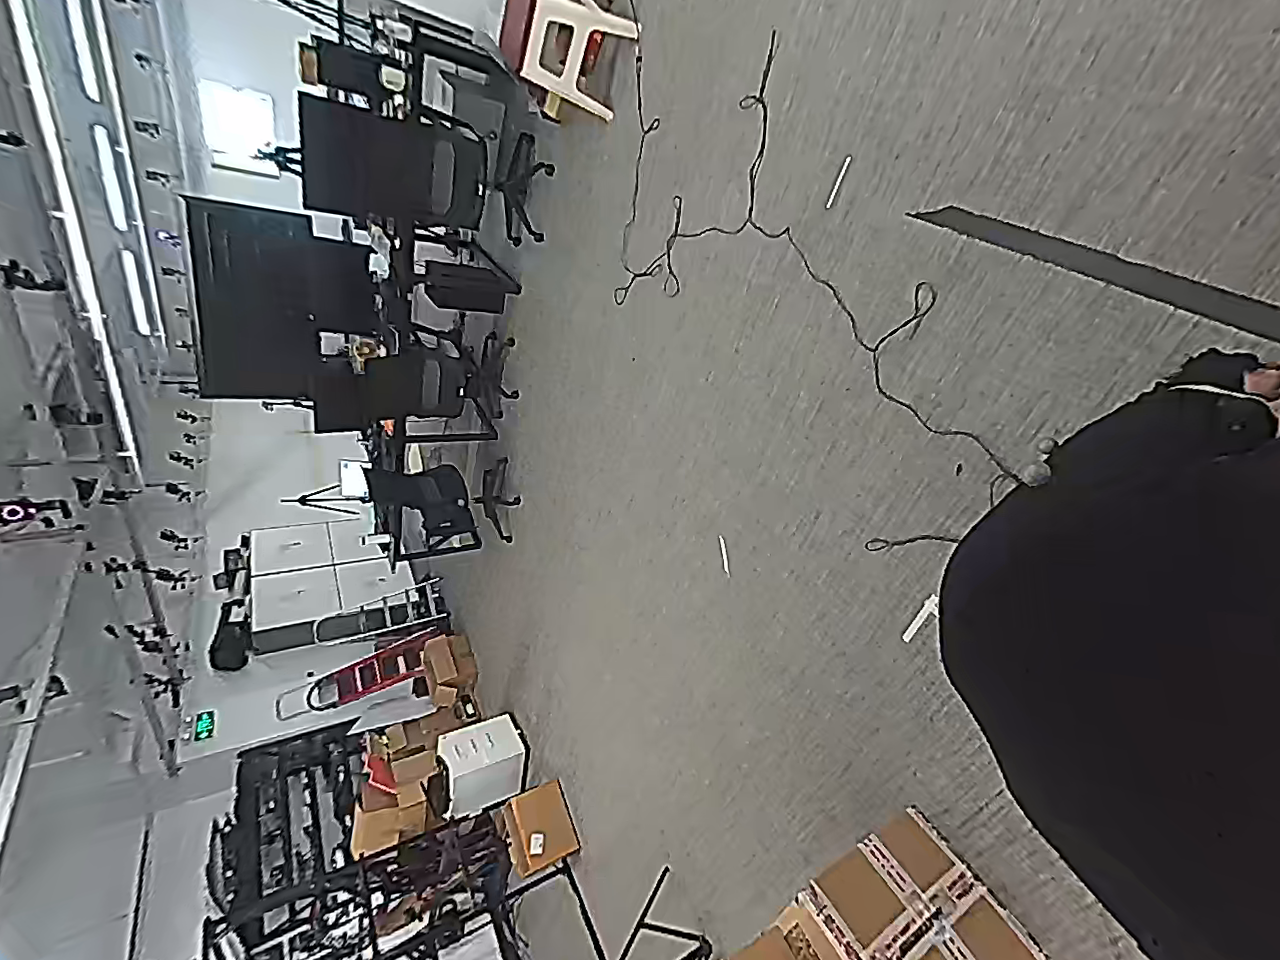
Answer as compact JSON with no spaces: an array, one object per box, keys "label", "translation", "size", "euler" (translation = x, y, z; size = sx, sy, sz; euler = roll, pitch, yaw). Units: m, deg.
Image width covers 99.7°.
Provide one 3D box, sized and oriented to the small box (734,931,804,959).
[{"label":"small box","translation":[0.314,1.238,1.301],"size":[0.179,0.176,0.168],"euler":[50,132,42]}]
